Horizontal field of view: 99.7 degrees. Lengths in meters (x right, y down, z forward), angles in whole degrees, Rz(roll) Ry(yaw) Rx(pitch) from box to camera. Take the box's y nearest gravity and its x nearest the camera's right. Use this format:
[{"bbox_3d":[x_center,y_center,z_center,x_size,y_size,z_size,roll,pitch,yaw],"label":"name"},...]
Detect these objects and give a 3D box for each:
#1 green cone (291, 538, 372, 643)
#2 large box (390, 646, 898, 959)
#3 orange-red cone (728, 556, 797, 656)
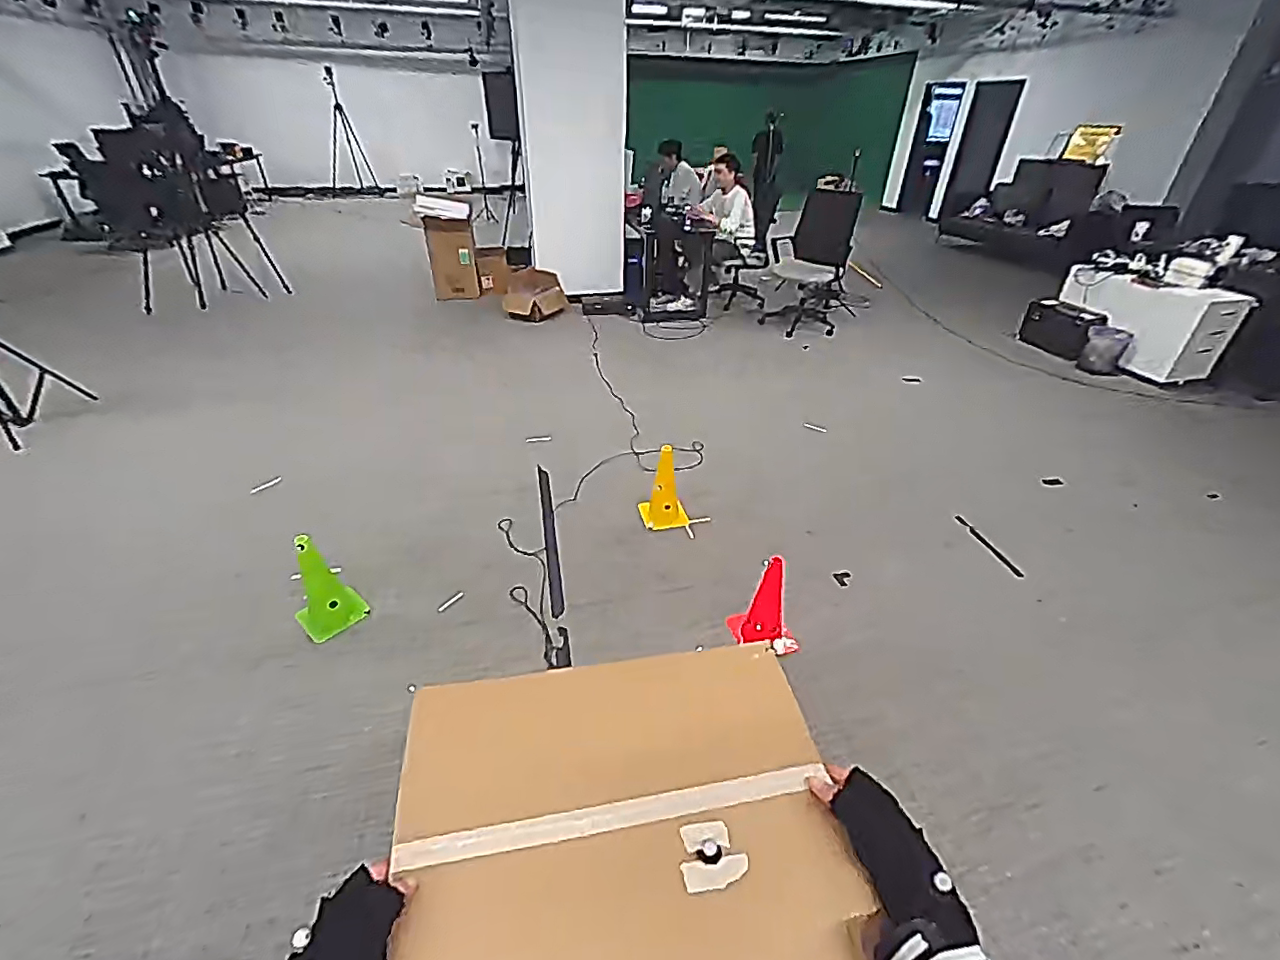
[{"bbox_3d":[-1.105,0.342,1.856,0.200,0.368,0.202,25,42,32],"label":"green cone"},{"bbox_3d":[-0.025,0.428,0.596,0.408,0.320,0.320,-4,41,-11],"label":"large box"},{"bbox_3d":[0.431,0.399,1.812,0.198,0.360,0.199,-7,34,-13],"label":"orange-red cone"}]
